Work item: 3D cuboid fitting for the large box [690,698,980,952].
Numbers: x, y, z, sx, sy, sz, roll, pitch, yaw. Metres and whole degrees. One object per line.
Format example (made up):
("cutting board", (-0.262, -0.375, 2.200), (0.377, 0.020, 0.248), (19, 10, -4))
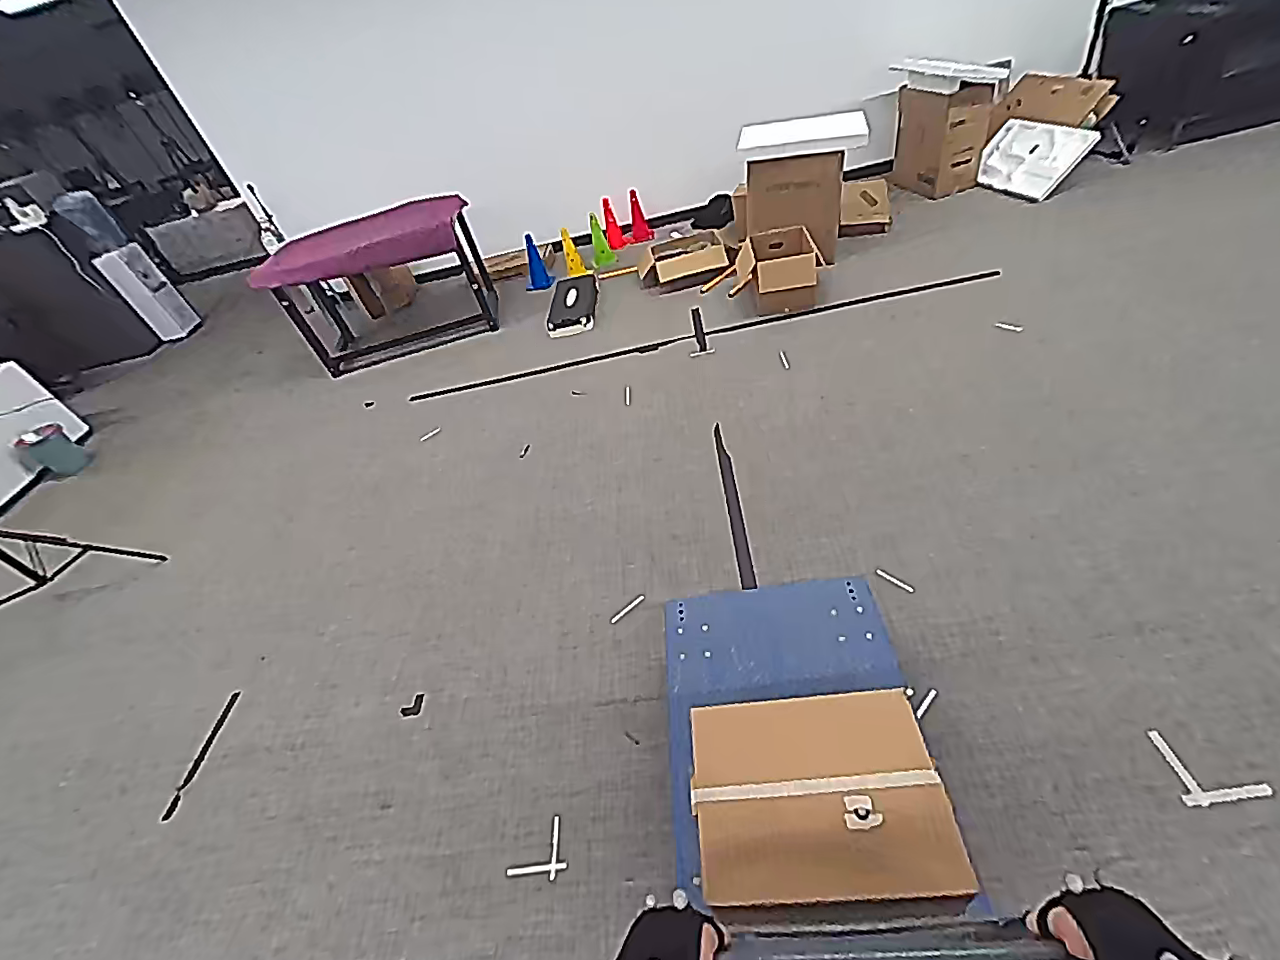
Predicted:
("large box", (0.321, 0.643, 1.003), (0.408, 0.320, 0.320), (-9, 42, 8))
